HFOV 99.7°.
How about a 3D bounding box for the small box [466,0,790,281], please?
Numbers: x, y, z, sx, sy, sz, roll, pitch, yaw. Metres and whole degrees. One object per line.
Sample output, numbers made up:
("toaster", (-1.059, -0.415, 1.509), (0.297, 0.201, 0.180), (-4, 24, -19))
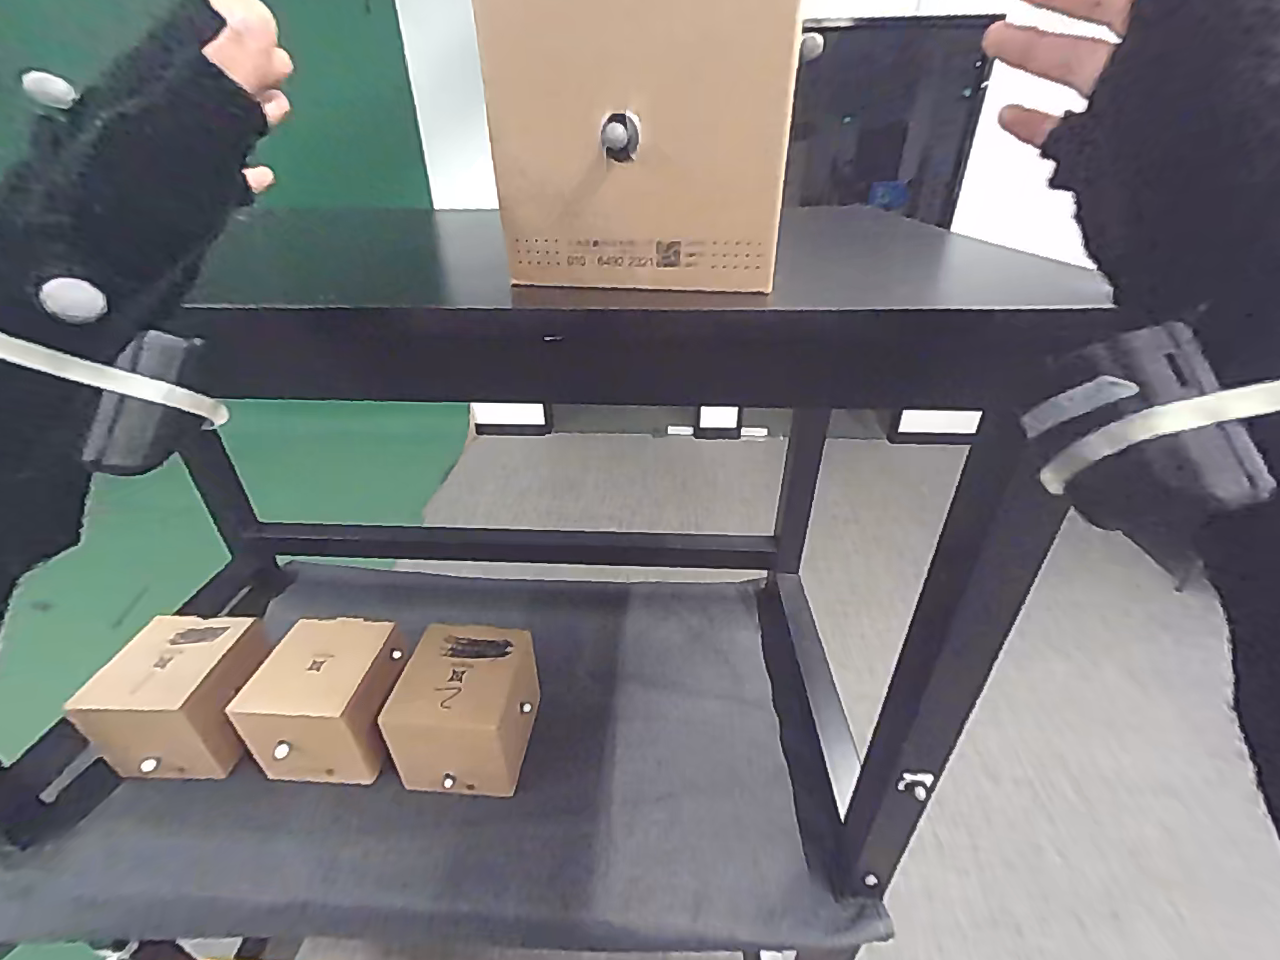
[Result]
("small box", (0.009, -0.236, 0.363), (0.168, 0.176, 0.179), (6, 31, 11))

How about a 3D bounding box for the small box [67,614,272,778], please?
("small box", (-0.702, 0.333, 0.848), (0.168, 0.176, 0.179), (0, 31, 1))

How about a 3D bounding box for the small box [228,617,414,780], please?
("small box", (-0.475, 0.338, 0.842), (0.168, 0.176, 0.179), (2, 30, 3))
